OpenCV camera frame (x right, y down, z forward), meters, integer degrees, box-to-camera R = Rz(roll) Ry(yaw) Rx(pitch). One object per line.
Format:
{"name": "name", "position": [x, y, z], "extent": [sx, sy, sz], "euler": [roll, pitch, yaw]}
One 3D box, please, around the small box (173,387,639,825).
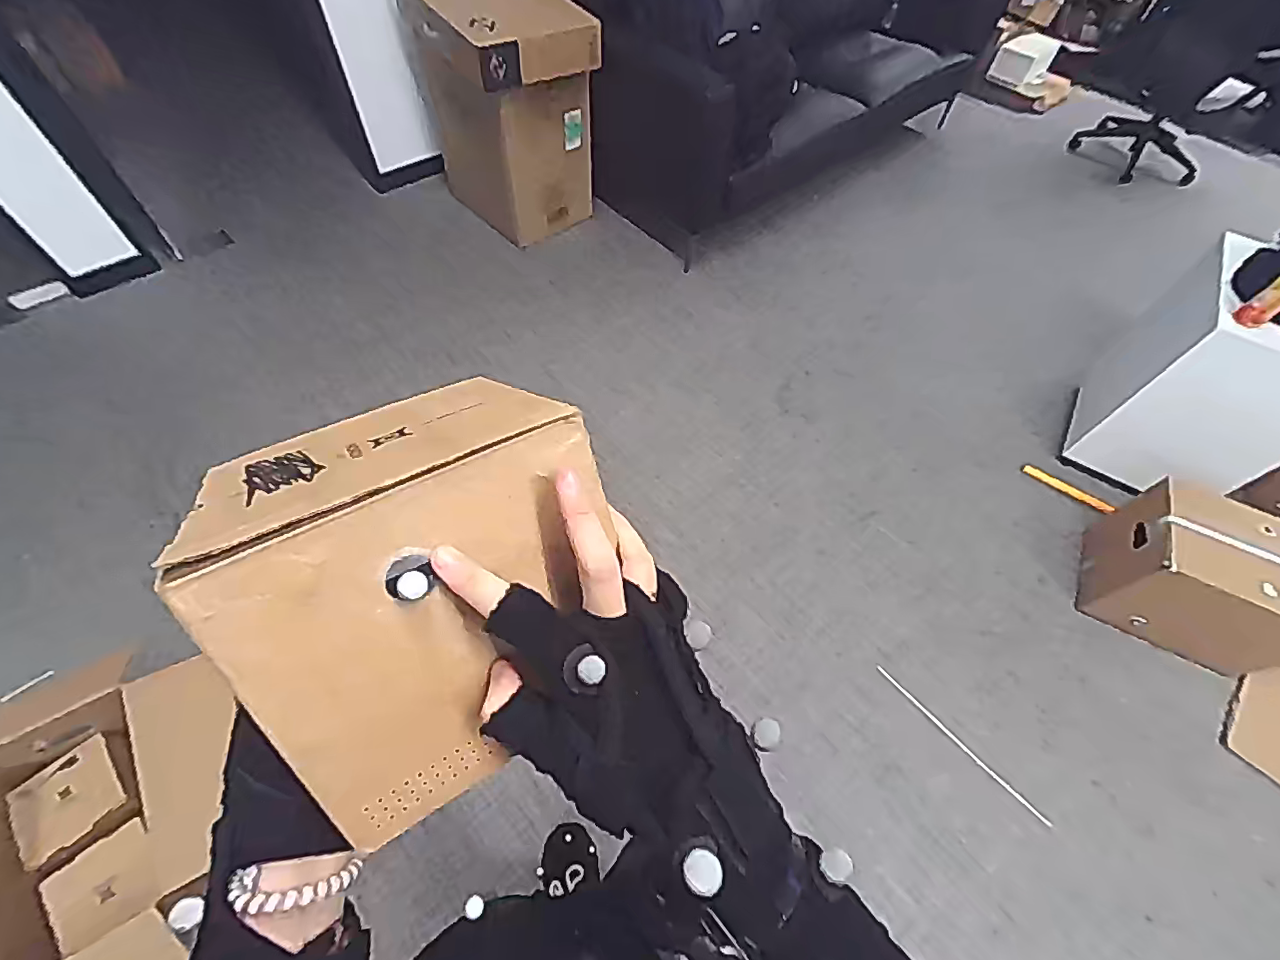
{"name": "small box", "position": [-0.125, 0.057, 0.333], "extent": [0.179, 0.176, 0.168], "euler": [-26, 27, -24]}
